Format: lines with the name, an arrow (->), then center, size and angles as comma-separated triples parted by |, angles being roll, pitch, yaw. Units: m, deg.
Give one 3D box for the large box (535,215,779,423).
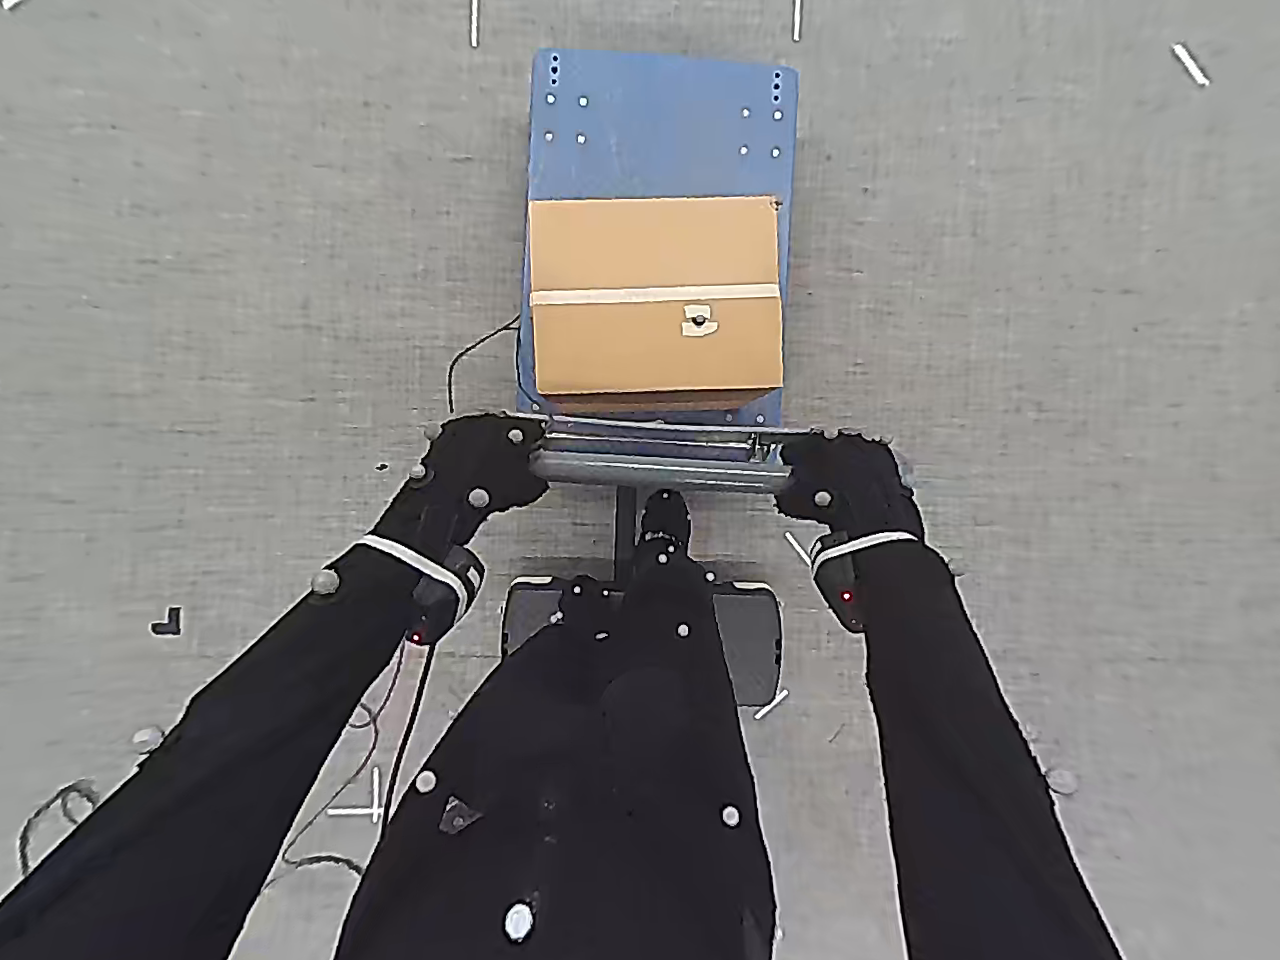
large box -> 0.023, -0.286, 1.051 | 0.408, 0.320, 0.320 | -2, 92, -3
